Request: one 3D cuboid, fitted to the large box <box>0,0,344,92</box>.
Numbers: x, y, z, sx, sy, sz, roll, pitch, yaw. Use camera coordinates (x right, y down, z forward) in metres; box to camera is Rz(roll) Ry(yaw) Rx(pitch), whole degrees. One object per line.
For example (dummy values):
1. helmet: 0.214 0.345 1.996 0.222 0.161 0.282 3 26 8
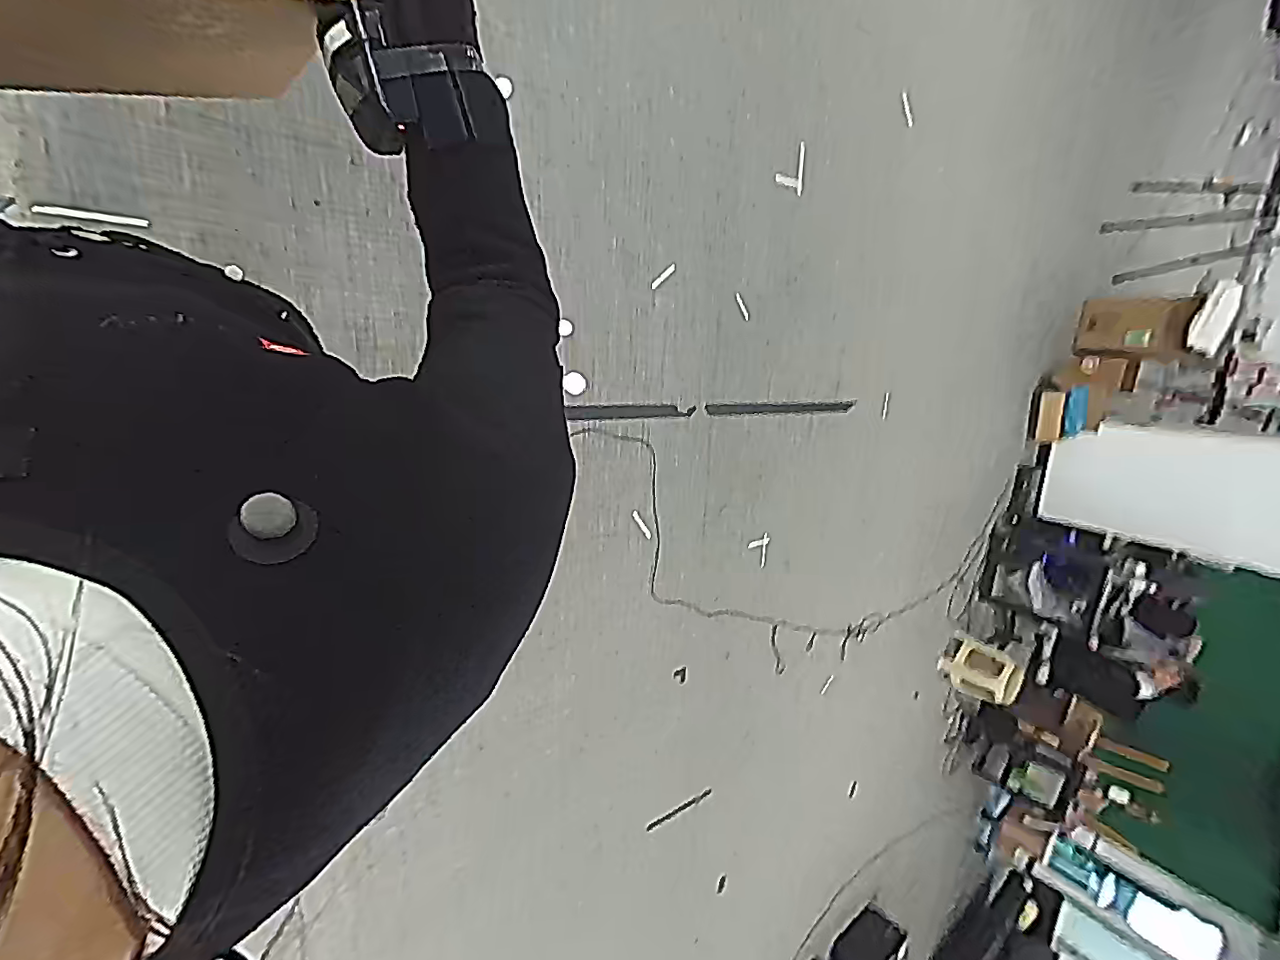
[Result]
1. large box: -0.426 -0.394 0.246 0.408 0.320 0.320 -23 124 -33
